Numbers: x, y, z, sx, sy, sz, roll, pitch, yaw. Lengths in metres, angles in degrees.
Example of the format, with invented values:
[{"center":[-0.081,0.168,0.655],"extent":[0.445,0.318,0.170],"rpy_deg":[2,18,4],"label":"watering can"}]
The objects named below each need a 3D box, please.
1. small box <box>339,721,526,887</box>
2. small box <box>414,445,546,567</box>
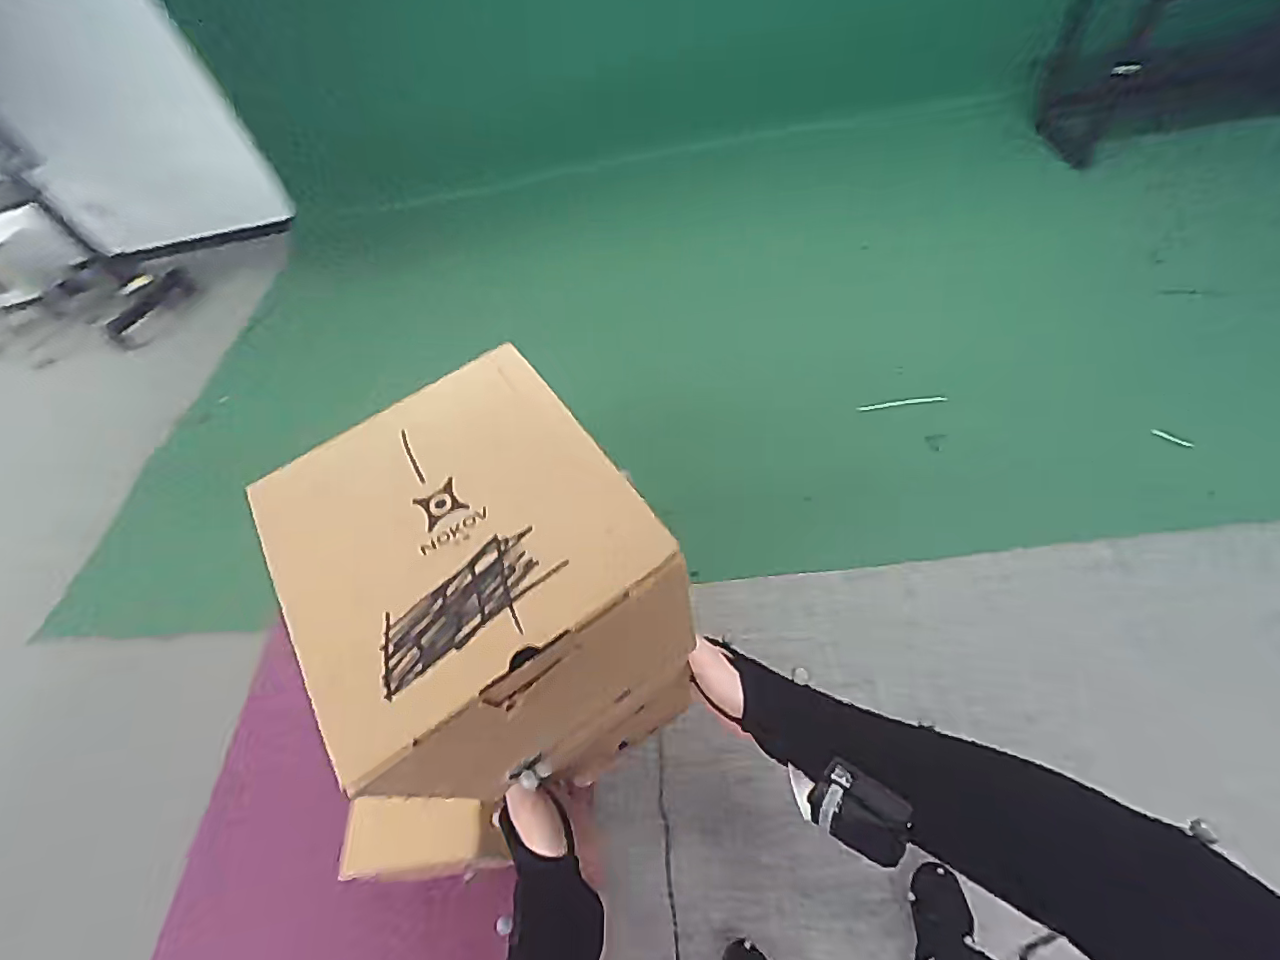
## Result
[{"center":[-0.266,0.447,0.744],"extent":[0.179,0.176,0.168],"rpy_deg":[-12,52,5],"label":"small box"},{"center":[-0.293,0.055,1.037],"extent":[0.179,0.176,0.168],"rpy_deg":[-6,53,10],"label":"small box"}]
